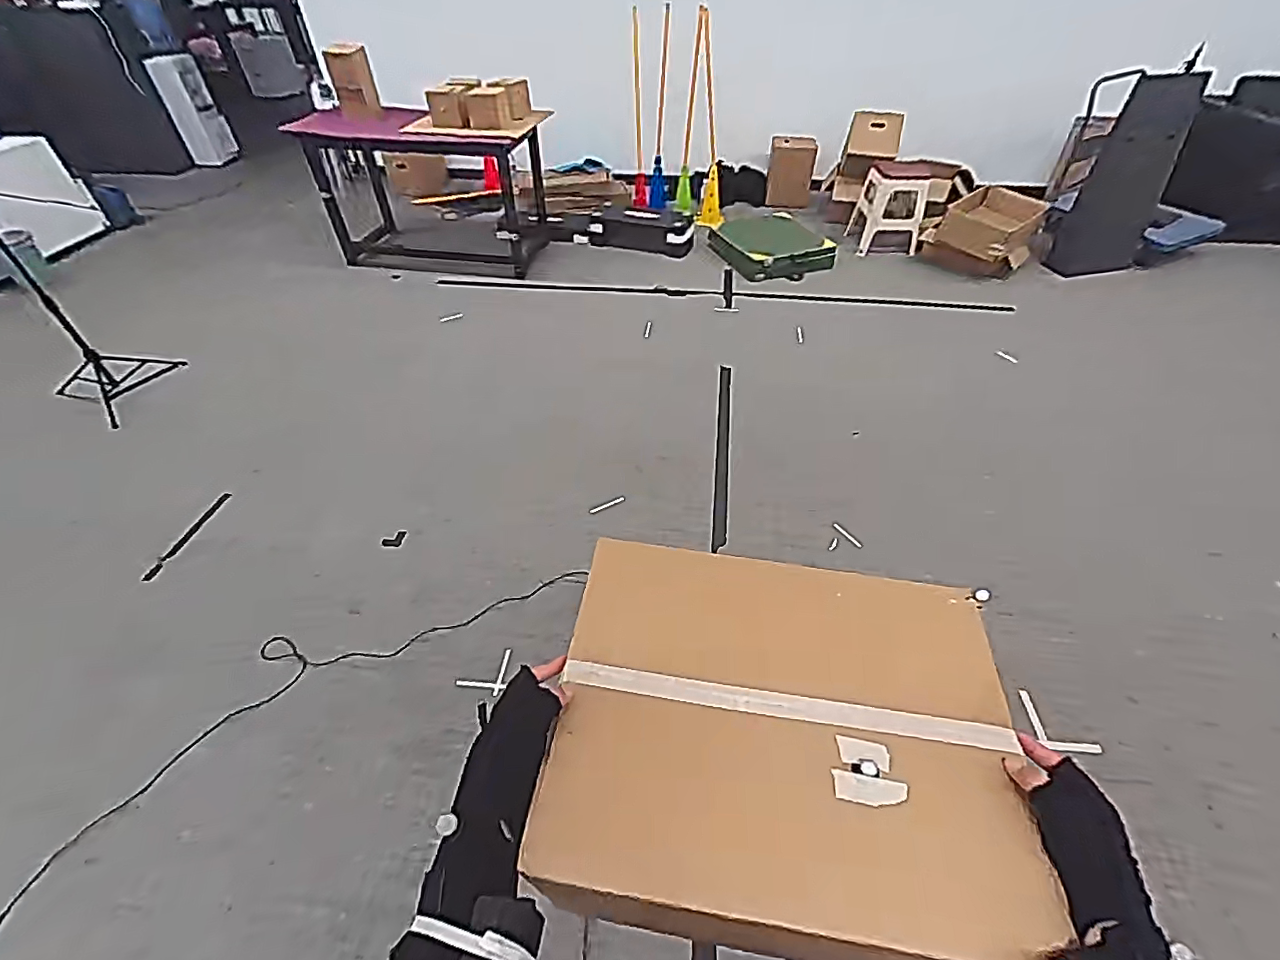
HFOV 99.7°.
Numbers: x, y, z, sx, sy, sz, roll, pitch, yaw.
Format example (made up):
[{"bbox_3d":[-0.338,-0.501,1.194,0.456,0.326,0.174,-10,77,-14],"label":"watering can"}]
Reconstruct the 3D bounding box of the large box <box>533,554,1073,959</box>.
[{"bbox_3d":[0.128,0.317,0.603,0.408,0.320,0.320,8,49,5],"label":"large box"}]
